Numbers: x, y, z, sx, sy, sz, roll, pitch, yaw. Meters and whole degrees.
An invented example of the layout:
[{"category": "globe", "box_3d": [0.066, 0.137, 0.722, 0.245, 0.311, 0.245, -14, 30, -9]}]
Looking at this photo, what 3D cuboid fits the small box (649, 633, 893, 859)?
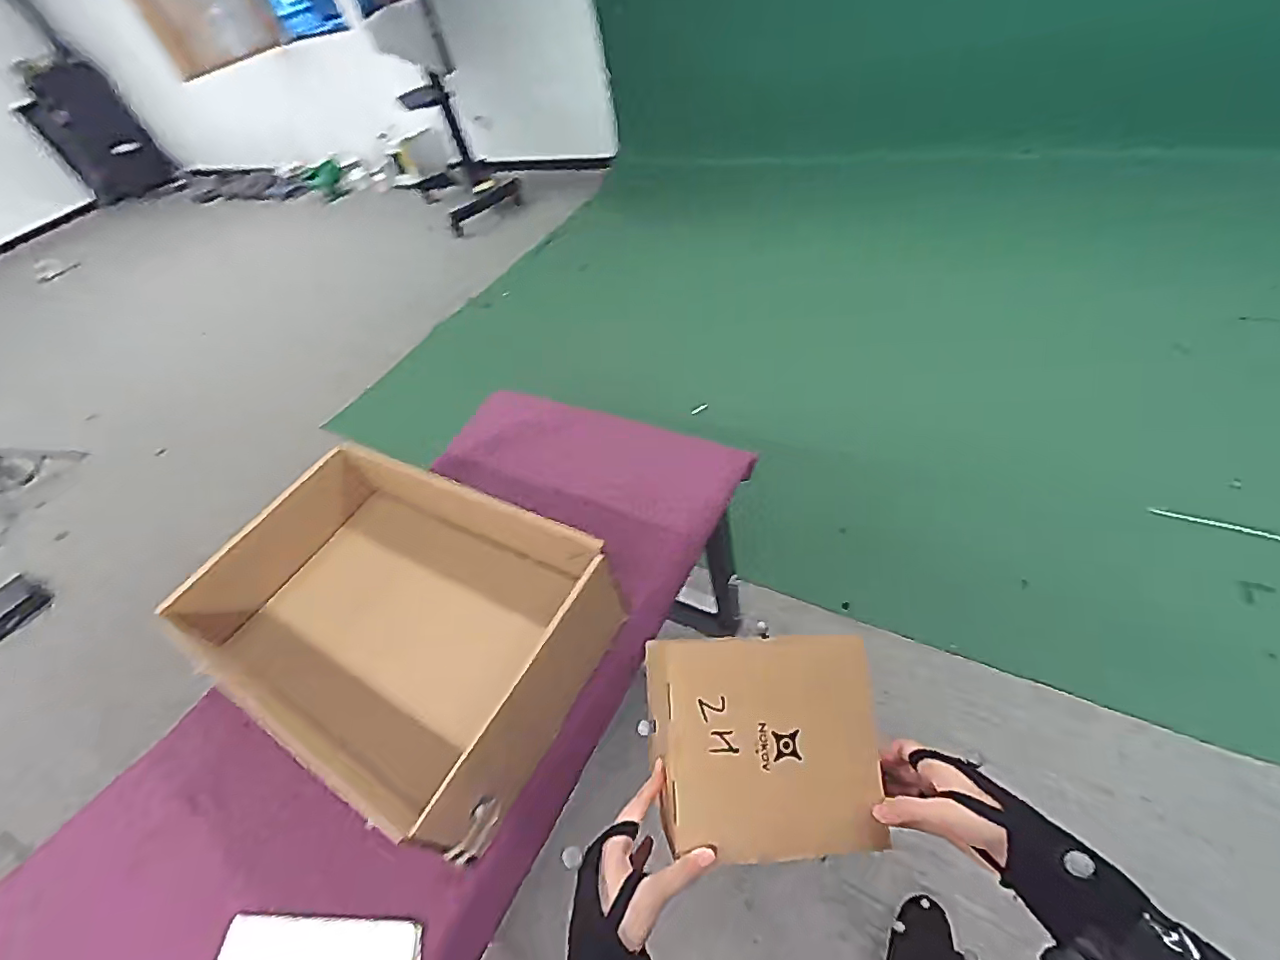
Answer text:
[{"category": "small box", "box_3d": [0.105, 0.232, 0.515, 0.179, 0.176, 0.168, 0, 73, -5]}]
